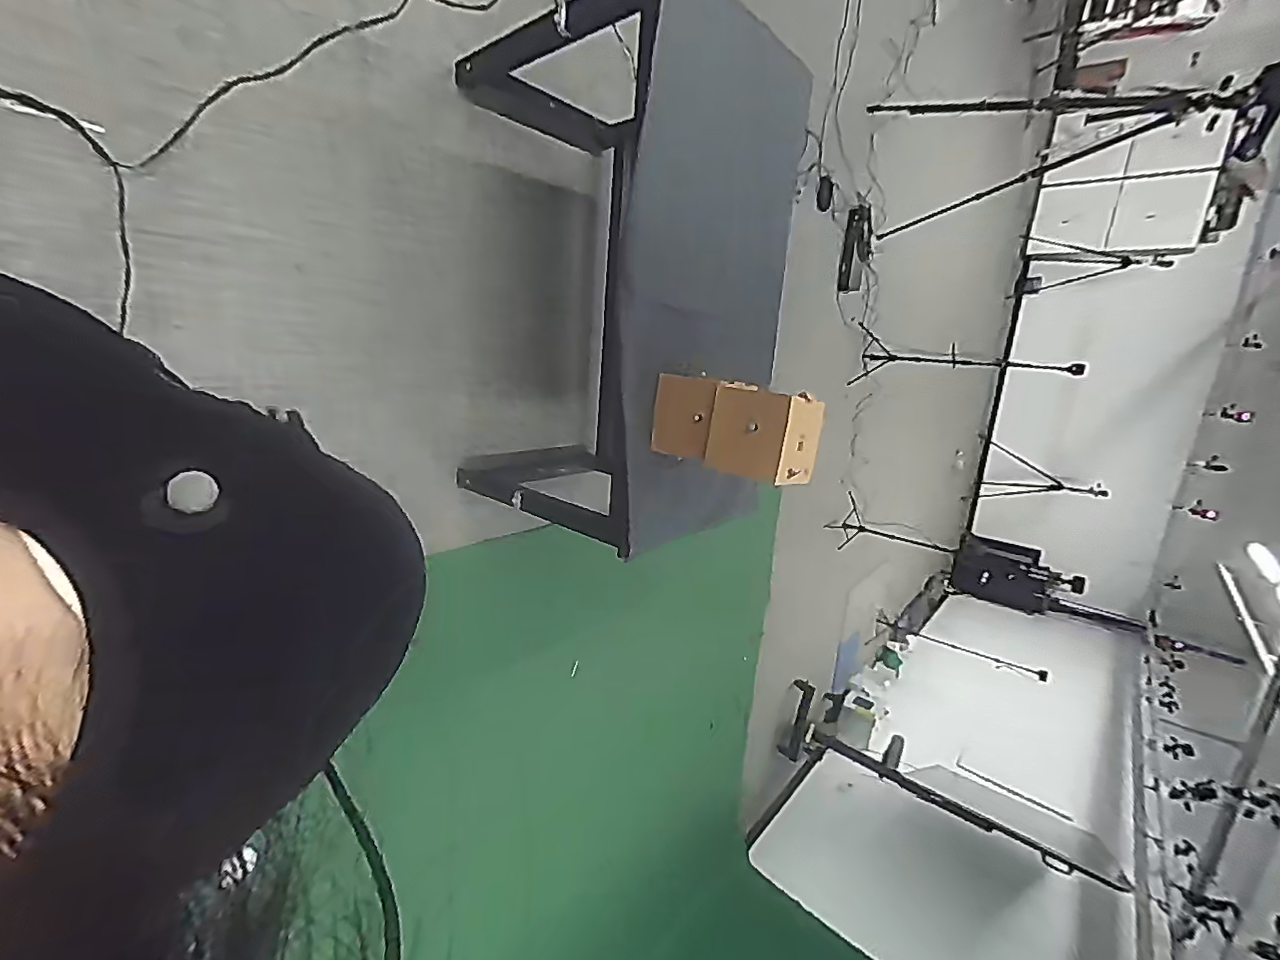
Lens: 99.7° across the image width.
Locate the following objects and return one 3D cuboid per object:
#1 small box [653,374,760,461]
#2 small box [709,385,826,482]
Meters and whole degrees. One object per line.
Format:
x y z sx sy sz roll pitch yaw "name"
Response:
0.147 -0.143 1.222 0.168 0.176 0.179 -6 107 -49 "small box"
0.259 -0.097 1.110 0.168 0.176 0.179 -2 102 -50 "small box"
